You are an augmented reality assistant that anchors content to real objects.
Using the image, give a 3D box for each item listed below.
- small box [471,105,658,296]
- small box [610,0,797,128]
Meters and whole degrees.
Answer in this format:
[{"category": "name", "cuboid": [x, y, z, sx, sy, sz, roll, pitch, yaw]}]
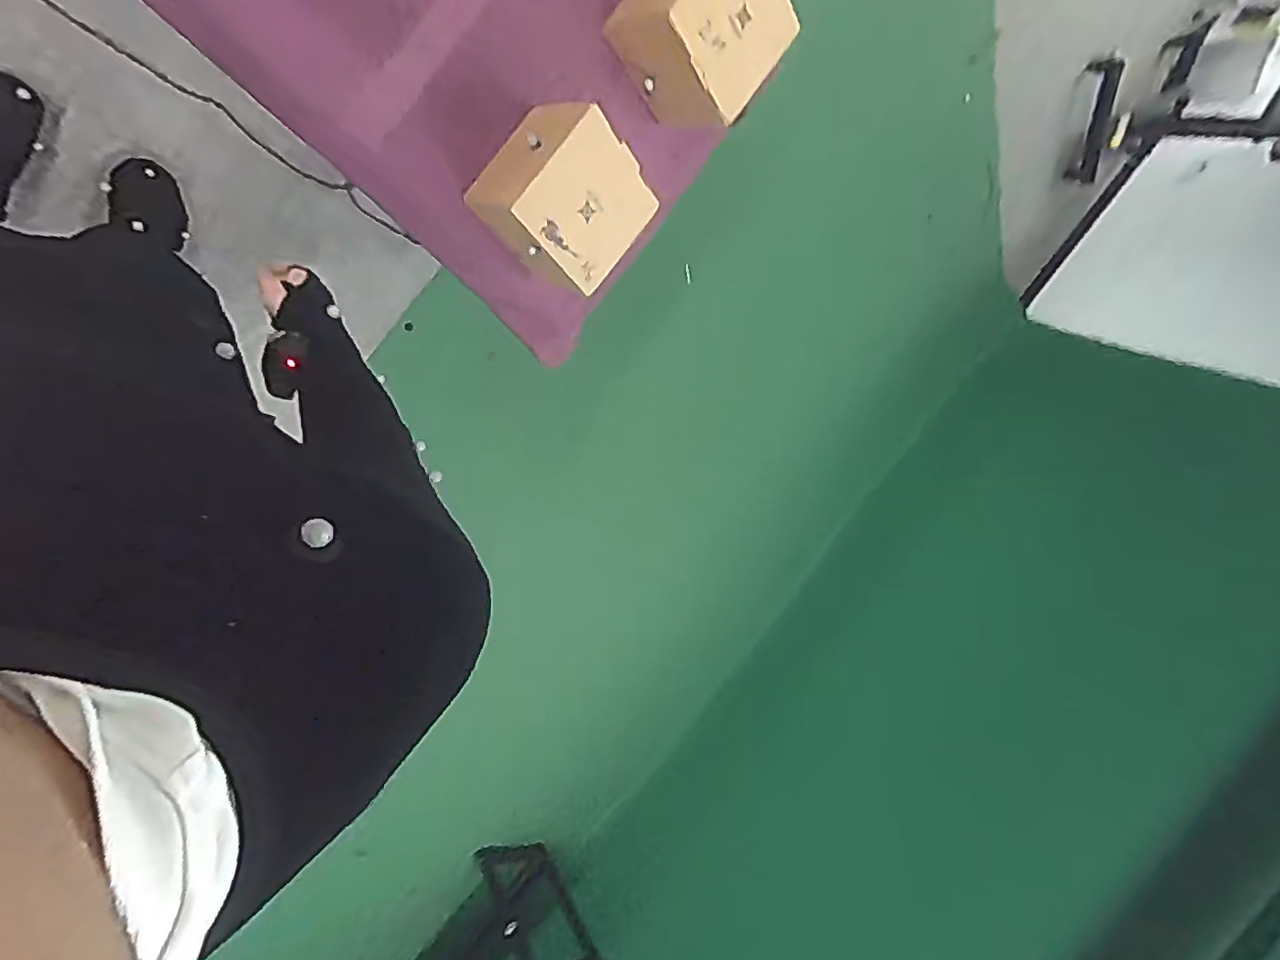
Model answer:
[{"category": "small box", "cuboid": [-0.114, -0.405, 0.787, 0.179, 0.176, 0.168, -52, 137, -2]}, {"category": "small box", "cuboid": [0.088, -0.653, 0.786, 0.179, 0.176, 0.168, -52, 135, 2]}]
